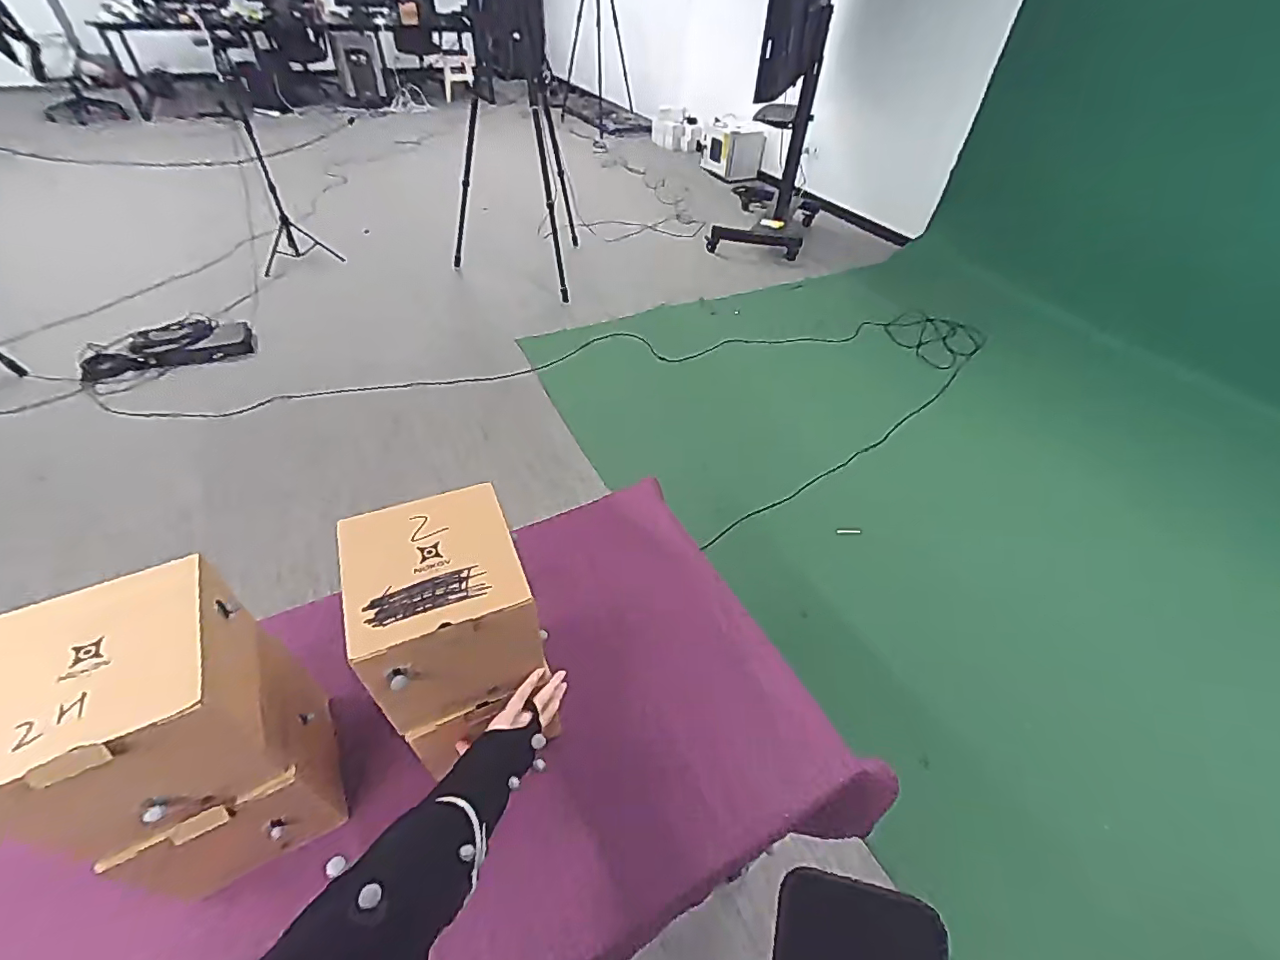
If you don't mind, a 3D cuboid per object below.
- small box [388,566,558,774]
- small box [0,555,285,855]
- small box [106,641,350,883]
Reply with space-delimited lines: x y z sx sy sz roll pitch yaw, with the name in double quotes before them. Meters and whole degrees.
"small box" -0.217 0.251 0.720 0.168 0.176 0.179 -18 50 -20
"small box" -0.466 0.210 0.514 0.168 0.176 0.179 -21 50 -23
"small box" -0.460 0.329 0.628 0.168 0.176 0.179 -20 49 -22
